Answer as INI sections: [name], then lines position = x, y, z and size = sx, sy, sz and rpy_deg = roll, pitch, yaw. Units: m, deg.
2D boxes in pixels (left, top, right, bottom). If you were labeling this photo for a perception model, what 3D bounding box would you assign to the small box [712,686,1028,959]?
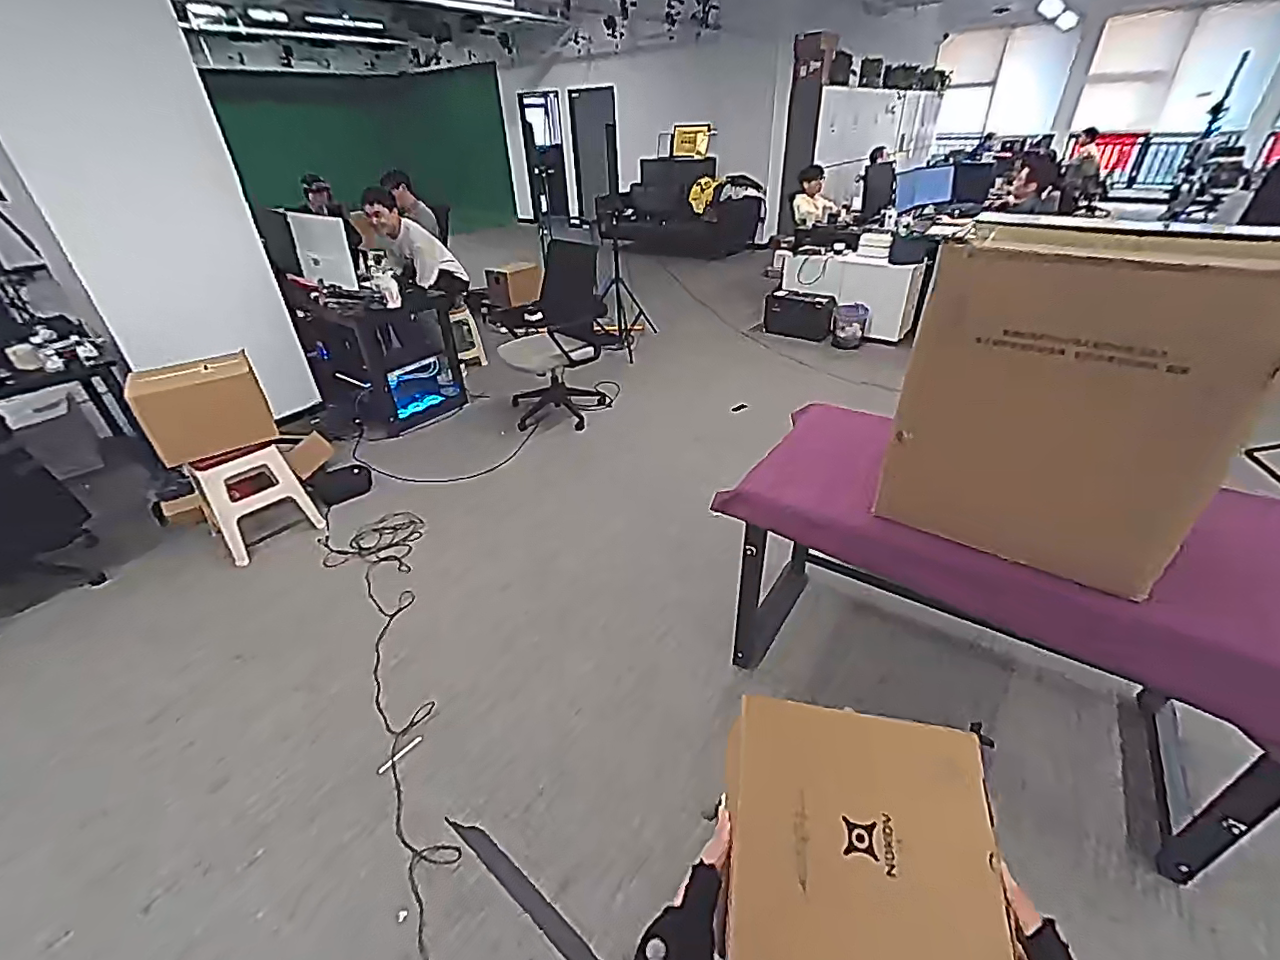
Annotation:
[small box]
position = 0.156, 0.282, 0.427
size = 0.179, 0.176, 0.168
rpy_deg = 6, 52, 7
